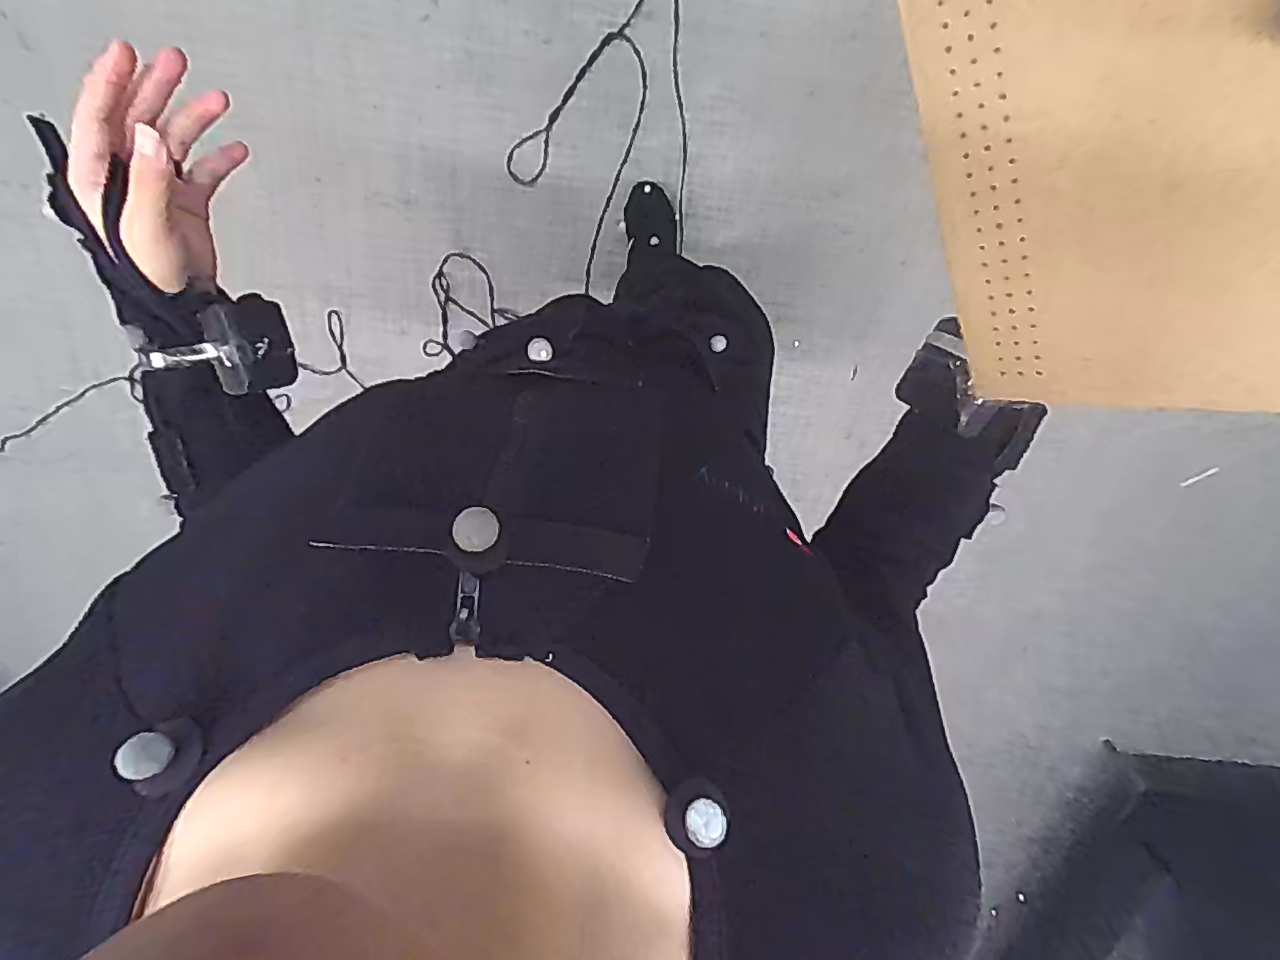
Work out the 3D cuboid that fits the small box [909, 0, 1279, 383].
[{"bbox_3d":[0.214,-0.141,0.166,0.168,0.176,0.179,-37,115,-18],"label":"small box"}]
